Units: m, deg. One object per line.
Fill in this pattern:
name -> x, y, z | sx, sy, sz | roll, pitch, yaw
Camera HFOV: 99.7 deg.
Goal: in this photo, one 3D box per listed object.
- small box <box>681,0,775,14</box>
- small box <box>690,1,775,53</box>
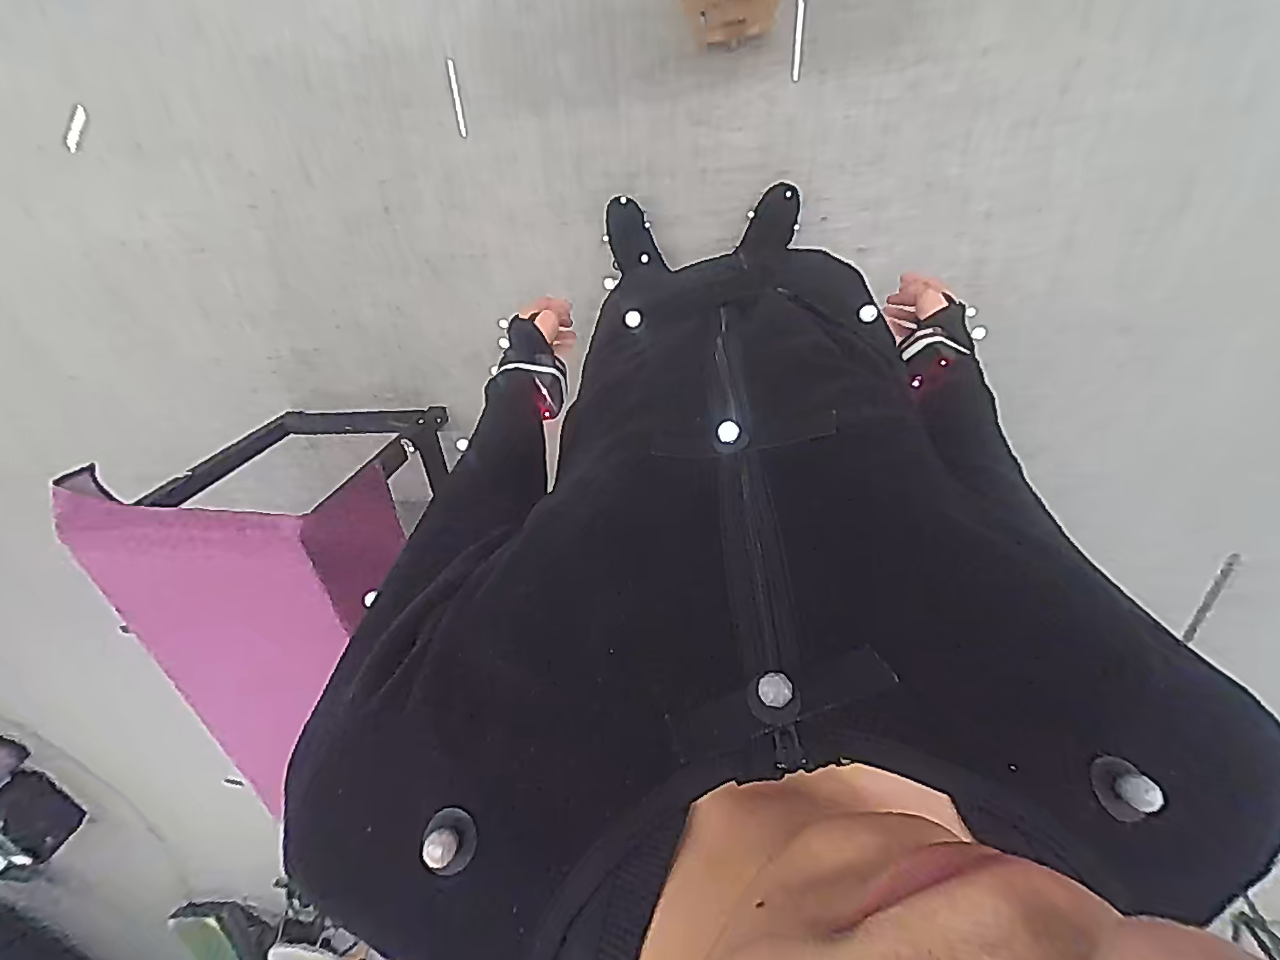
small box -> 0.136, -0.833, 0.805 | 0.168, 0.176, 0.179 | 0, 121, 7
small box -> 0.181, -0.994, 1.087 | 0.168, 0.176, 0.179 | -3, 121, 10
